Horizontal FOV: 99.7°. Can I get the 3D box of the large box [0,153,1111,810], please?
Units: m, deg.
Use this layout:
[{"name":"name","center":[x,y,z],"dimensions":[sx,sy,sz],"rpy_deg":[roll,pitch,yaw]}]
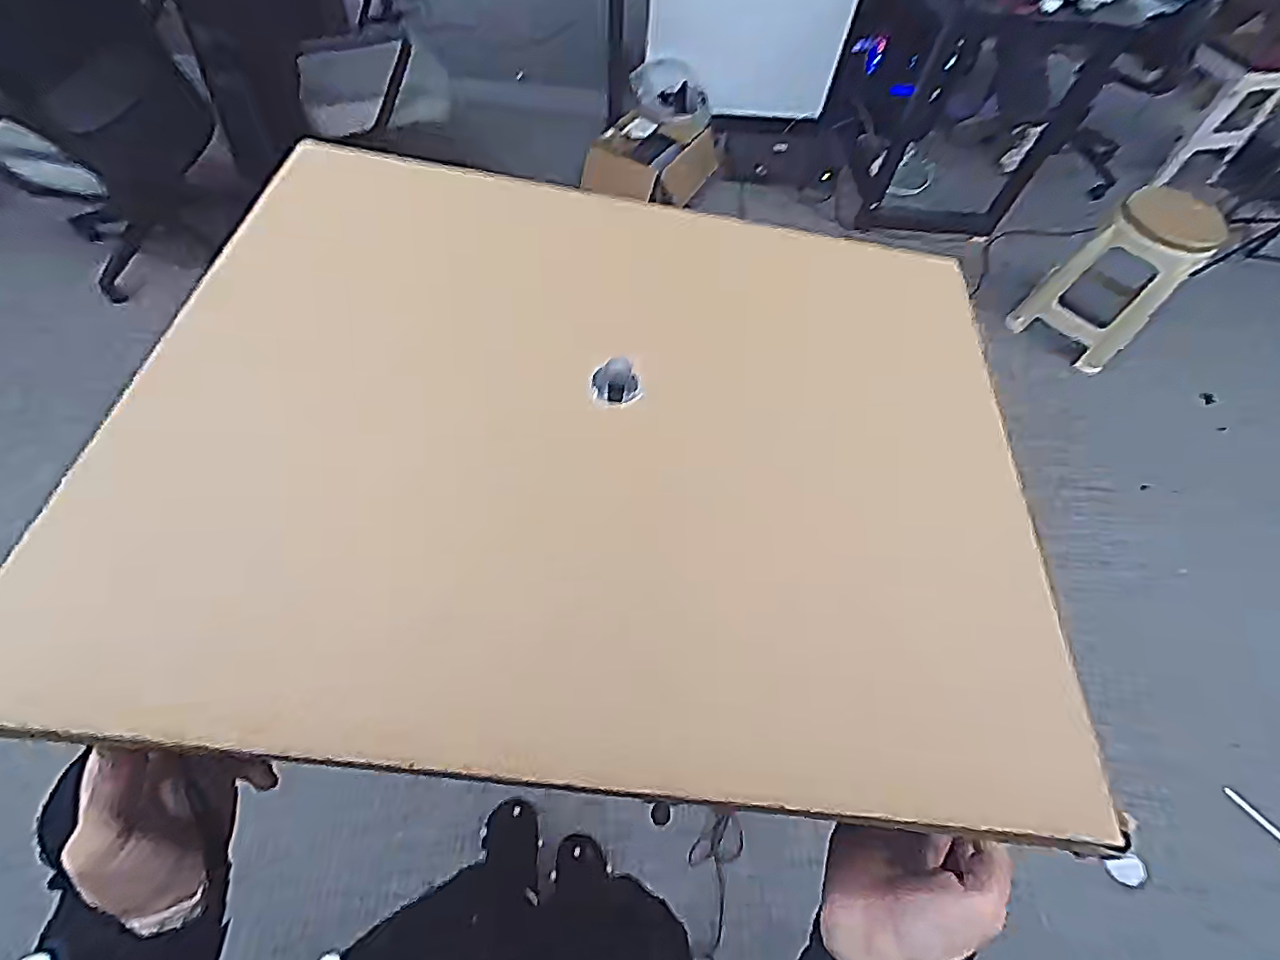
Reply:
[{"name":"large box","center":[-0.033,0.028,0.383],"dimensions":[0.408,0.320,0.320],"rpy_deg":[8,62,-3]}]
